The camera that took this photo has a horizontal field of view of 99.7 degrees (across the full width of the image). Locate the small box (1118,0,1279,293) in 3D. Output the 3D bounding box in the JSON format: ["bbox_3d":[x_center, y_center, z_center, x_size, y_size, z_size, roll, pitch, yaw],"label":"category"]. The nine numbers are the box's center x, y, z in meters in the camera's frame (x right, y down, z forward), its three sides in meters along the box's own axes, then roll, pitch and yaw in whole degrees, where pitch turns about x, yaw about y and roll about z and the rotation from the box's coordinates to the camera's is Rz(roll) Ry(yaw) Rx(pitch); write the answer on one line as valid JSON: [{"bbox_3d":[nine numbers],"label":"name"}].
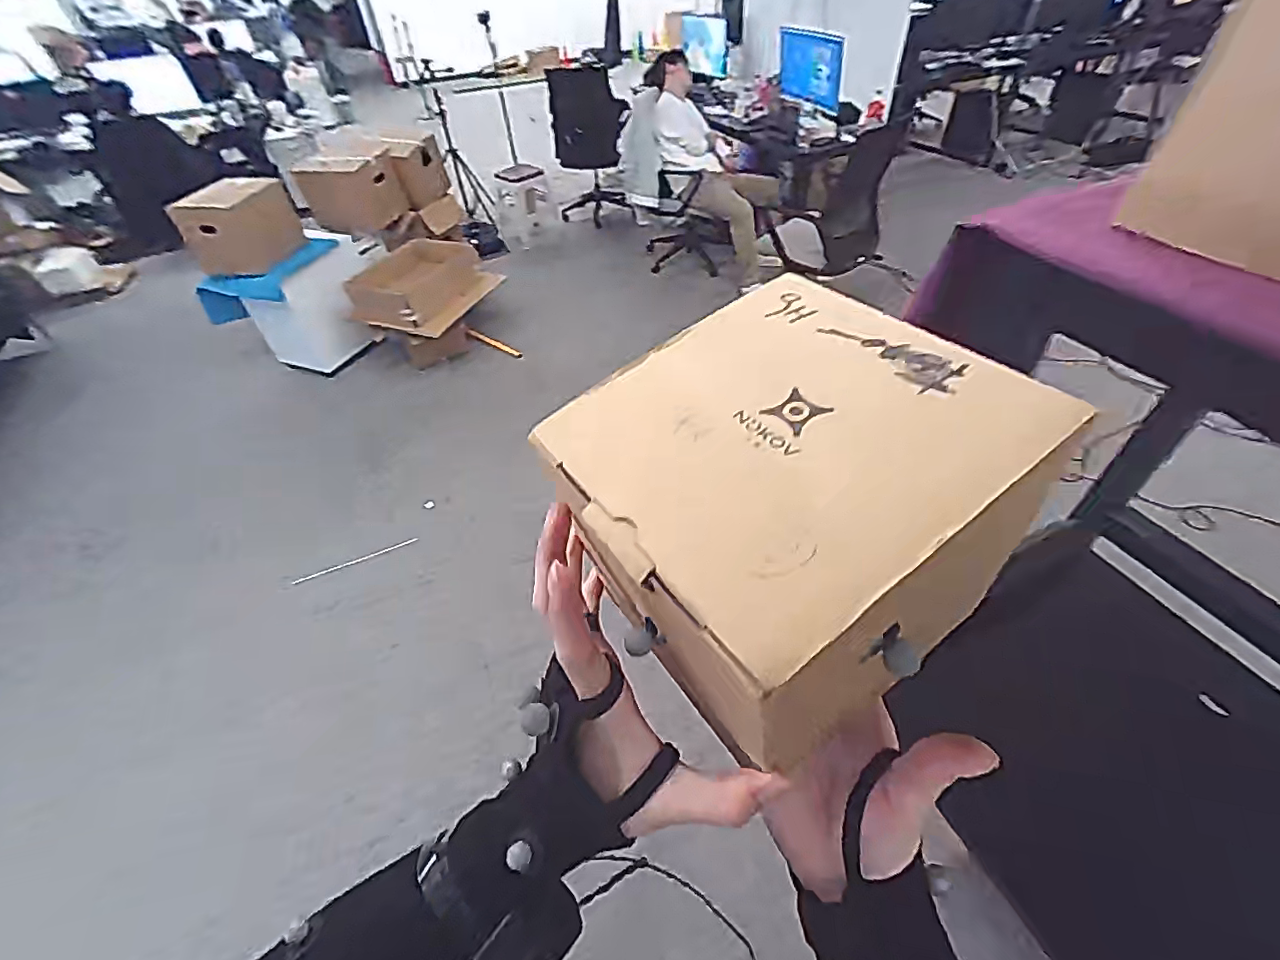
[{"bbox_3d":[0.468,-0.222,0.334,0.168,0.176,0.179,-20,47,-15],"label":"small box"}]

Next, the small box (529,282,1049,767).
[{"bbox_3d":[0.072,0.025,0.307,0.179,0.176,0.168,-34,51,-15],"label":"small box"}]
